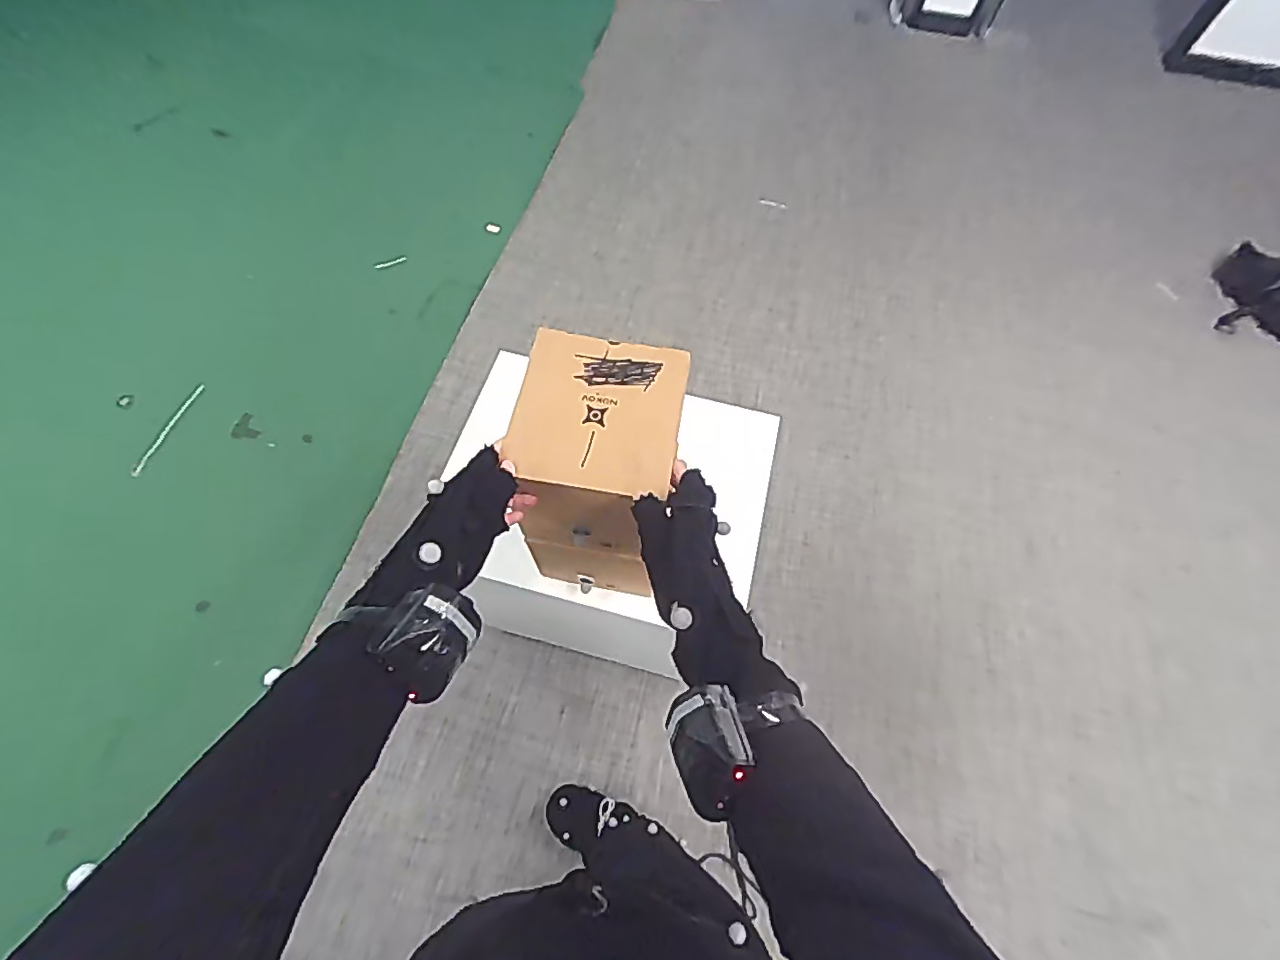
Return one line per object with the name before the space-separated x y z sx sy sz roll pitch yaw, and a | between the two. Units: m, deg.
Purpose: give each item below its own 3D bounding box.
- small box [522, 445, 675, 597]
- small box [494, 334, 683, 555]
small box | -0.049 0.047 0.748 0.168 0.176 0.179 9 65 4
small box | -0.048 -0.033 0.605 0.168 0.176 0.179 6 63 2
